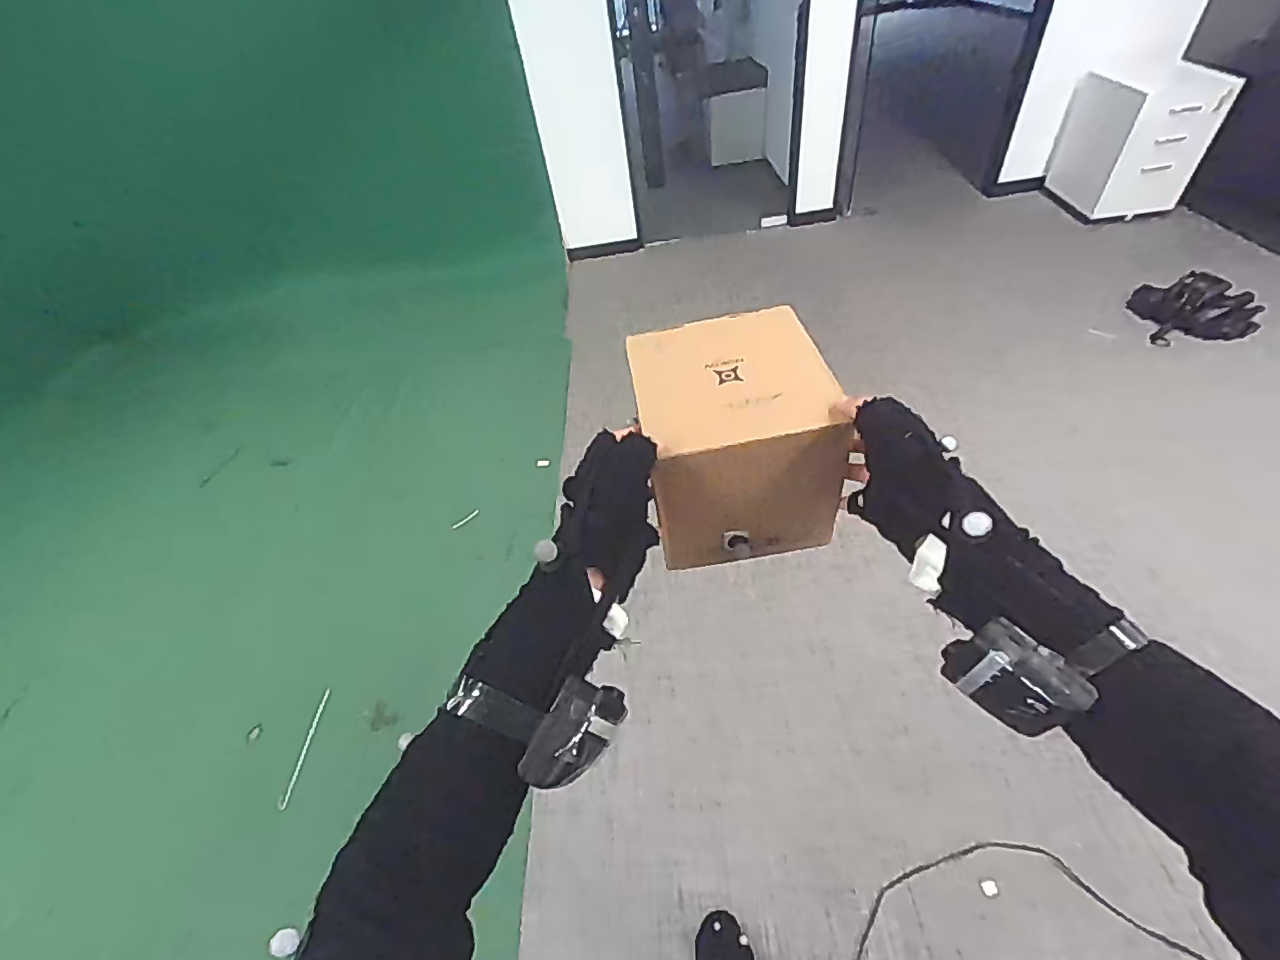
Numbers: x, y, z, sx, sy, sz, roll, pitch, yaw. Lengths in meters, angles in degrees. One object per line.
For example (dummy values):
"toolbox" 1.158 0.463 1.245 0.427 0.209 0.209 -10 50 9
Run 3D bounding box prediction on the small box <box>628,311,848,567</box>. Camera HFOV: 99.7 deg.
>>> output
"small box" 0.084 -0.040 0.539 0.168 0.176 0.179 -10 47 1
